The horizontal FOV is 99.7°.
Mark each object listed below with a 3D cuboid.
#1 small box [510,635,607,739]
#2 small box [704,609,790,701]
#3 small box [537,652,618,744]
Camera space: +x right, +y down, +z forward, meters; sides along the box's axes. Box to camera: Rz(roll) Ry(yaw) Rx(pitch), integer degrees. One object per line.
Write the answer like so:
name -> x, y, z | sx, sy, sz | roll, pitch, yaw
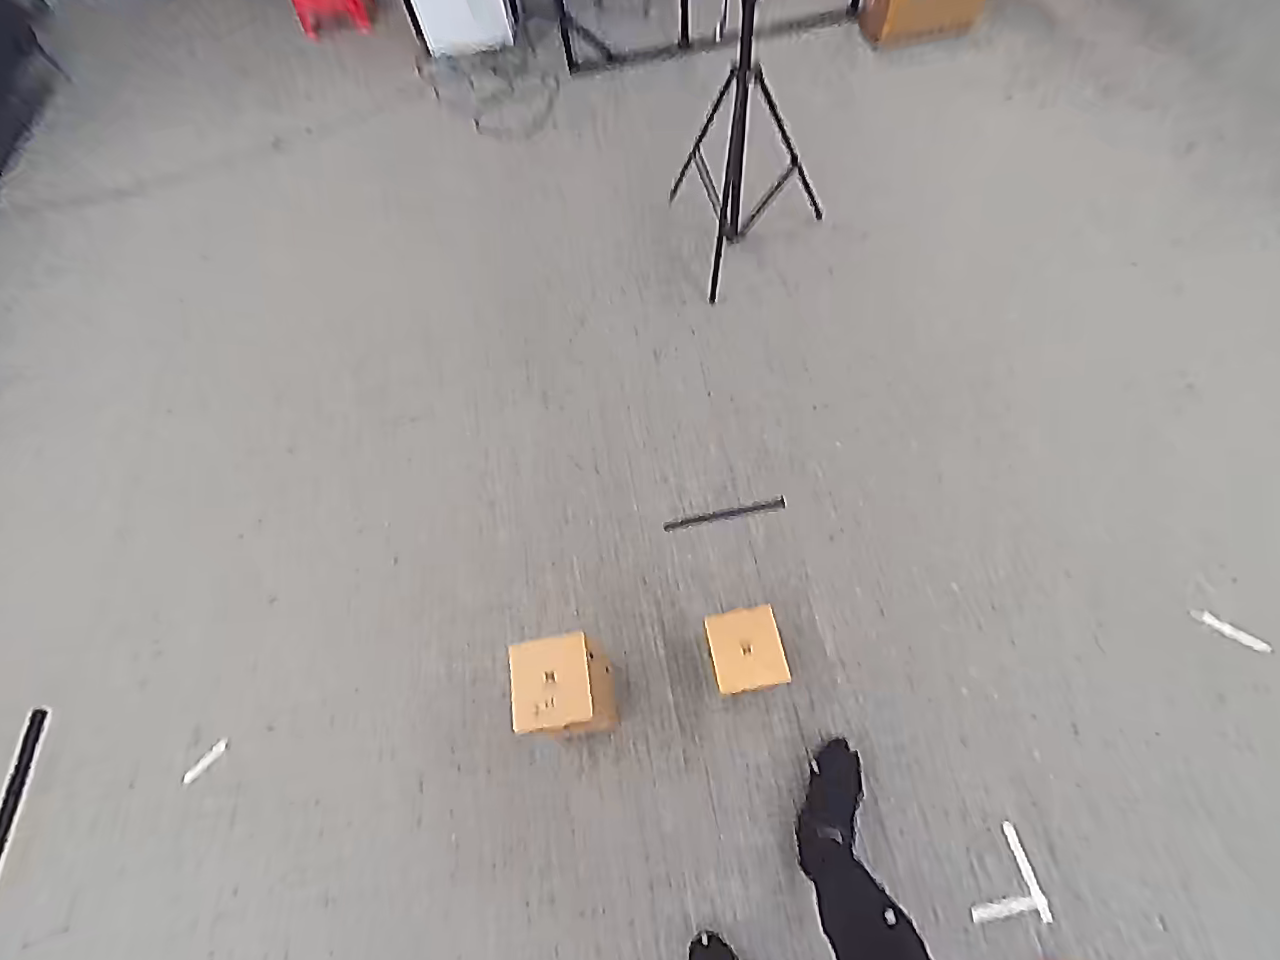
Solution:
small box -> -0.172, 0.452, 1.168 | 0.168, 0.176, 0.179 | -12, 63, 2
small box -> 0.254, 0.432, 1.316 | 0.168, 0.176, 0.179 | -12, 62, 0
small box -> -0.153, 0.532, 1.310 | 0.168, 0.176, 0.179 | -11, 63, 2
